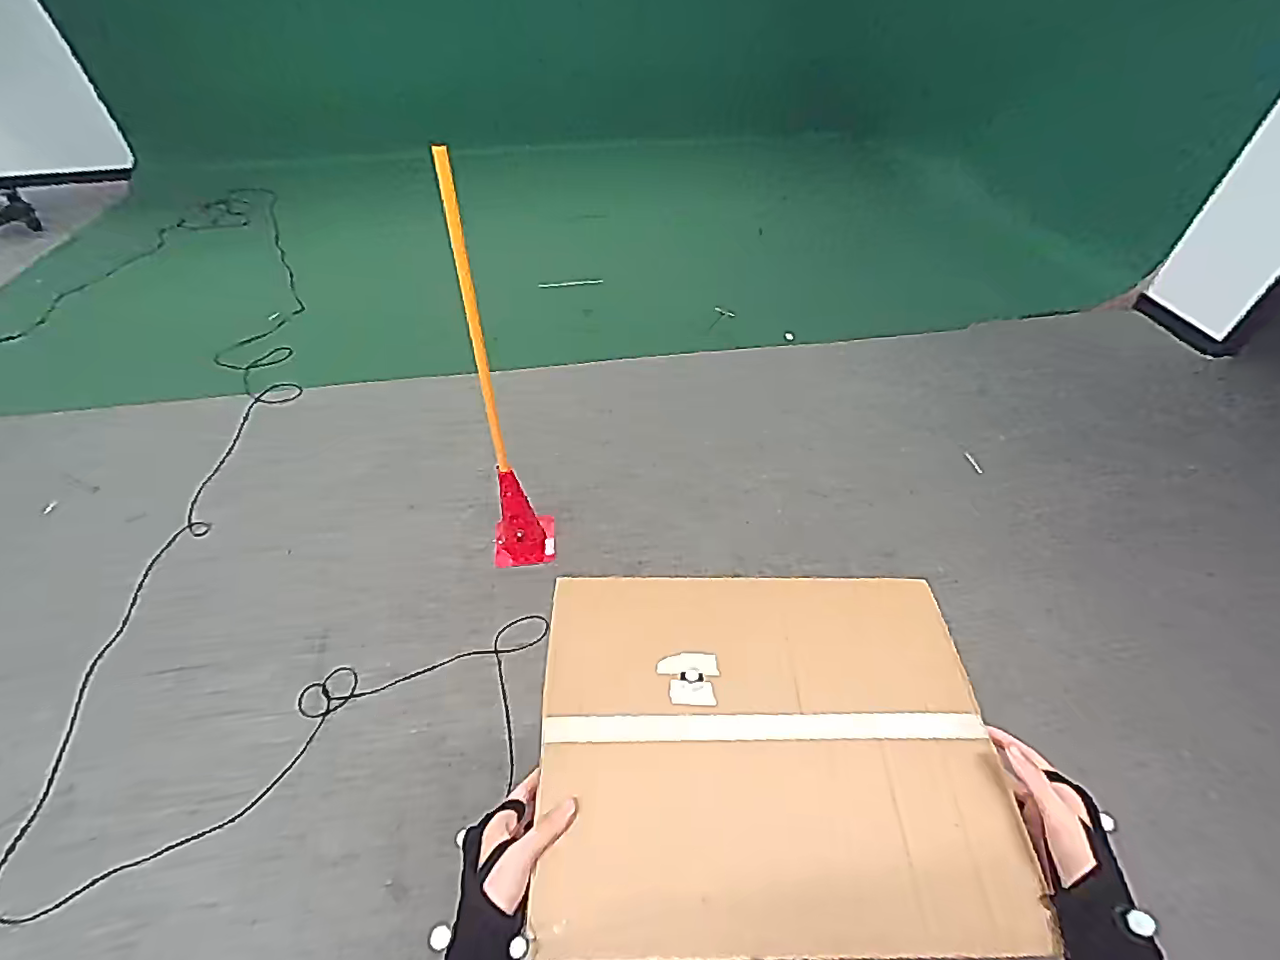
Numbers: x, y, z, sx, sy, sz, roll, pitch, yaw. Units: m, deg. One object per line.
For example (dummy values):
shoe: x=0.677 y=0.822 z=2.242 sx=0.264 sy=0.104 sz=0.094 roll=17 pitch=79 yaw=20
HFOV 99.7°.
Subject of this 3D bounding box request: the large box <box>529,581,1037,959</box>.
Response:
large box: x=0.109 y=0.329 z=0.622 sx=0.408 sy=0.320 sz=0.320 roll=-1 pitch=50 yaw=-1
